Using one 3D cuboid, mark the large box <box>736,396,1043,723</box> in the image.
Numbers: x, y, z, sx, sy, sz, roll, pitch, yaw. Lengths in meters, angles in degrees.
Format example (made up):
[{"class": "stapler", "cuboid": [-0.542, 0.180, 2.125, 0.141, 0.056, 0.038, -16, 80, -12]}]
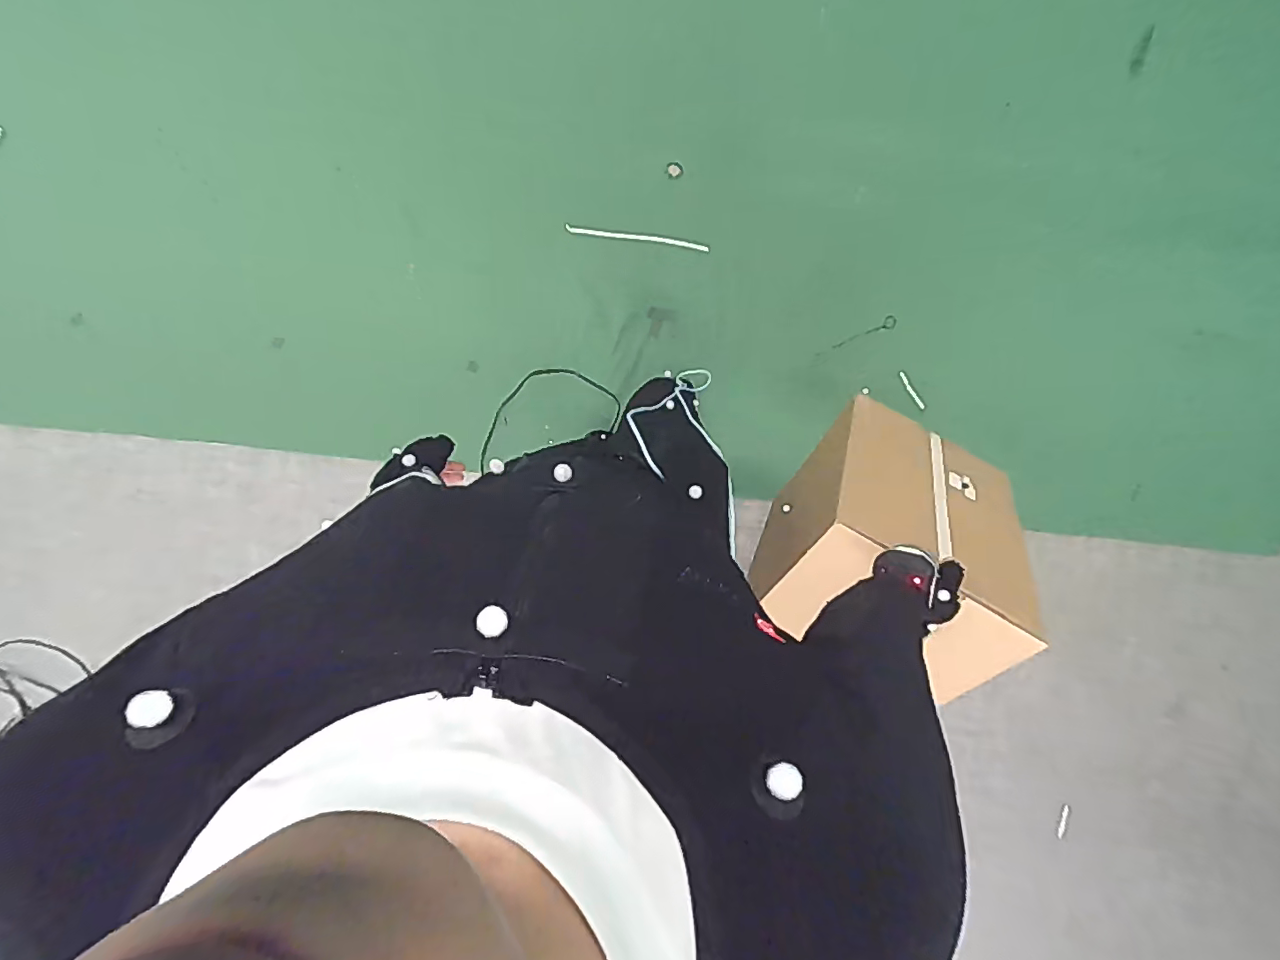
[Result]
[{"class": "large box", "cuboid": [0.407, 0.125, 0.947, 0.320, 0.408, 0.320, 32, 130, 3]}]
